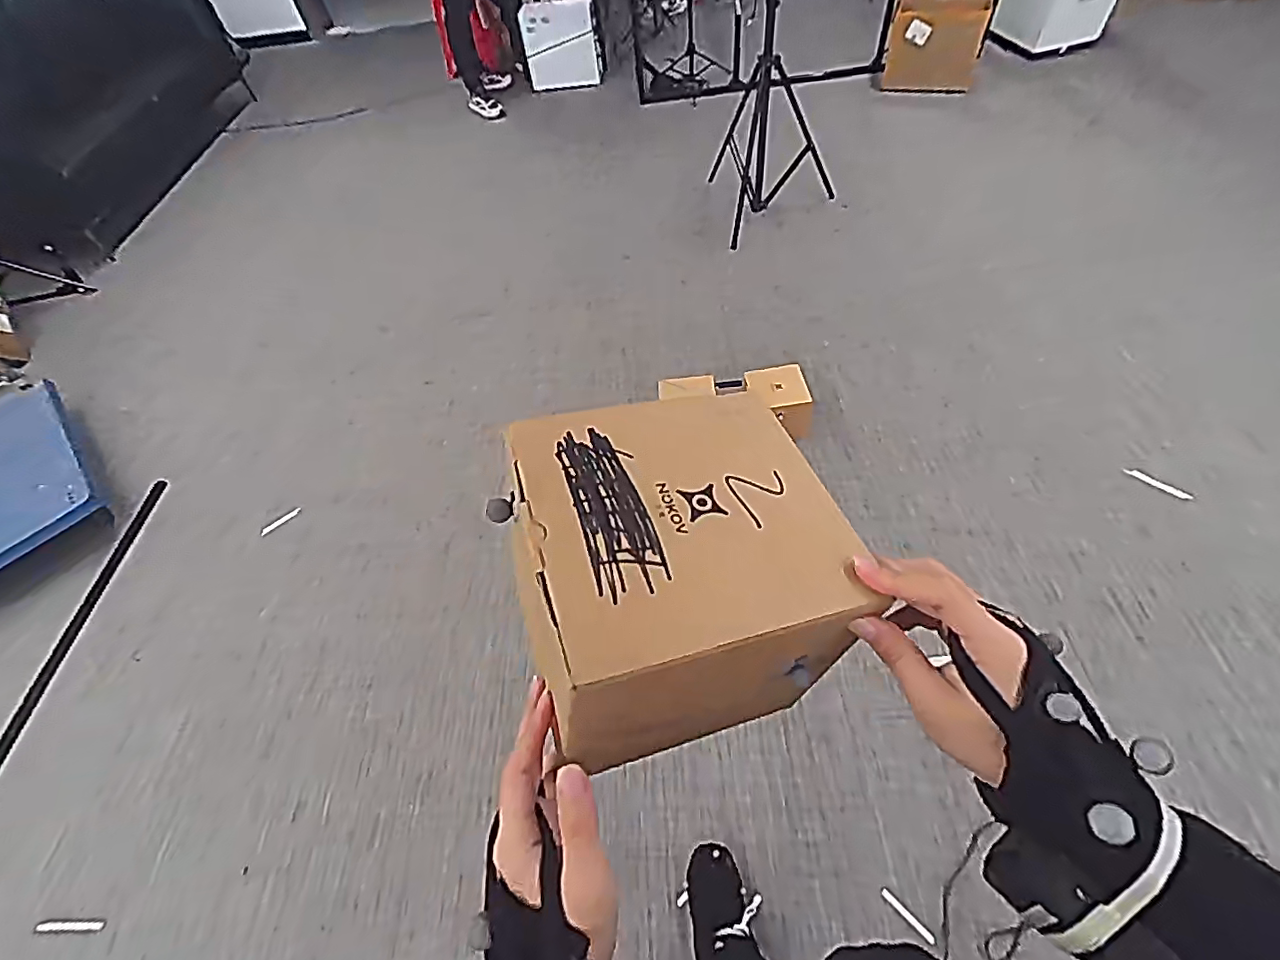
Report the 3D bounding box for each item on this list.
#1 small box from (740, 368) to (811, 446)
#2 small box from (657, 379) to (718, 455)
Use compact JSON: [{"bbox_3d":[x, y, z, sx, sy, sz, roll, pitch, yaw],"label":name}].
[{"bbox_3d":[0.420,-0.227,1.706,0.179,0.176,0.168,-9,54,1],"label":"small box"},{"bbox_3d":[0.152,-0.202,1.718,0.179,0.176,0.168,-4,55,4],"label":"small box"}]
